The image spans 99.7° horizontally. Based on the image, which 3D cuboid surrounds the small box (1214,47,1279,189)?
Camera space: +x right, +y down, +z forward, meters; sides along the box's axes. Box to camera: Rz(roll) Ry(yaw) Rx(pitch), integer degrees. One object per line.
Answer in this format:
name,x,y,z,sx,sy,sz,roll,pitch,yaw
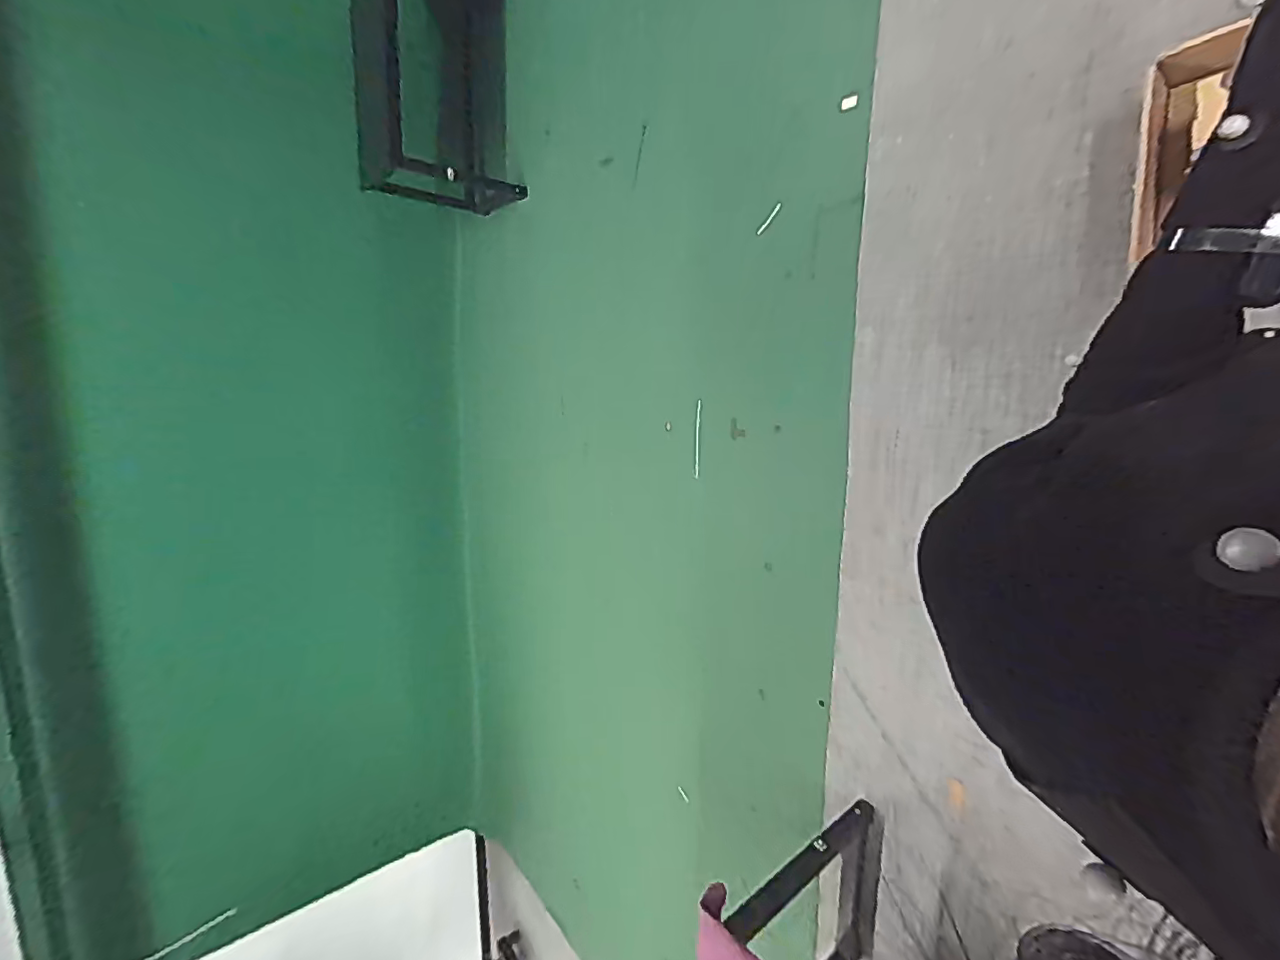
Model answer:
small box,1.068,-0.595,0.872,0.179,0.176,0.168,3,100,51
